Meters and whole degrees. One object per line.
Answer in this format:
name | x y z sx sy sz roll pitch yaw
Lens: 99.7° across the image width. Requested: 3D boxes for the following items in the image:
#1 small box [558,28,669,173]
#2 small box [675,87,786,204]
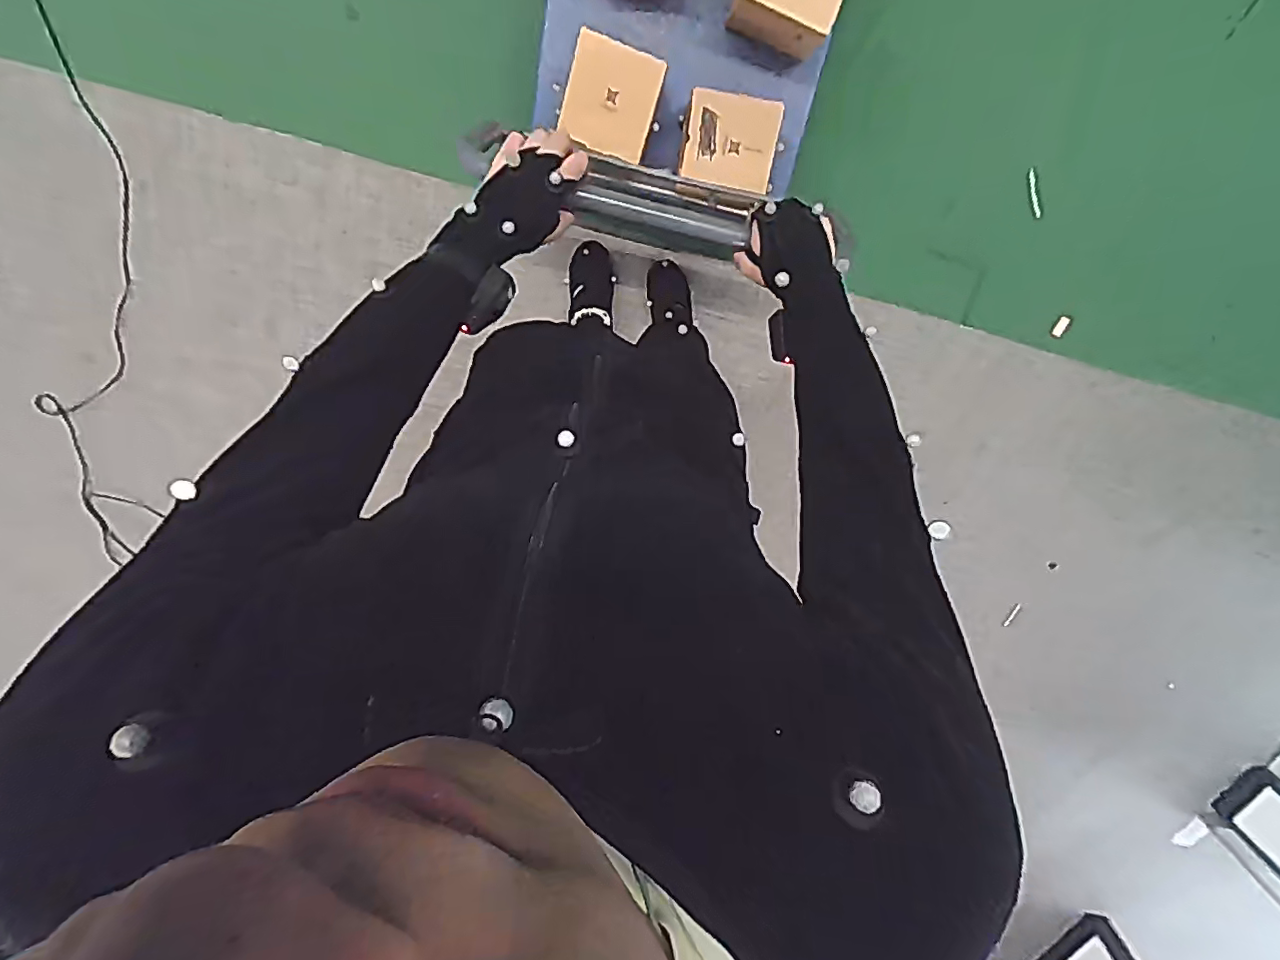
small box | -0.053 -0.732 1.067 0.168 0.176 0.179 17 115 -9
small box | 0.172 -0.665 1.096 0.179 0.176 0.168 8 116 -5
